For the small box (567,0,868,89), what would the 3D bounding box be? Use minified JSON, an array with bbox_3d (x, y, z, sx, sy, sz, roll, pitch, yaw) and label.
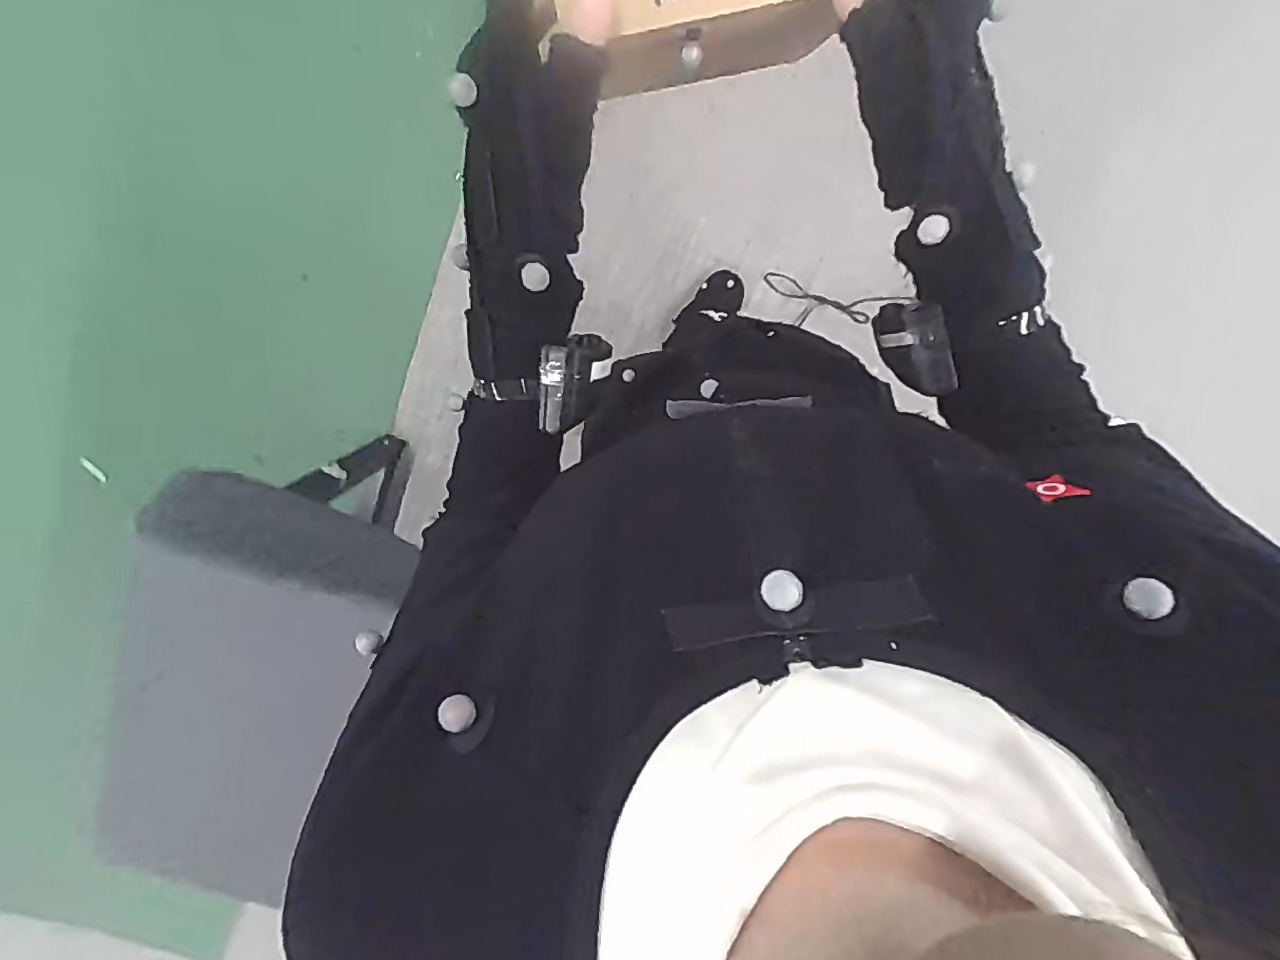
[{"bbox_3d":[0.034,-0.344,0.293,0.168,0.176,0.179,-8,118,5],"label":"small box"}]
